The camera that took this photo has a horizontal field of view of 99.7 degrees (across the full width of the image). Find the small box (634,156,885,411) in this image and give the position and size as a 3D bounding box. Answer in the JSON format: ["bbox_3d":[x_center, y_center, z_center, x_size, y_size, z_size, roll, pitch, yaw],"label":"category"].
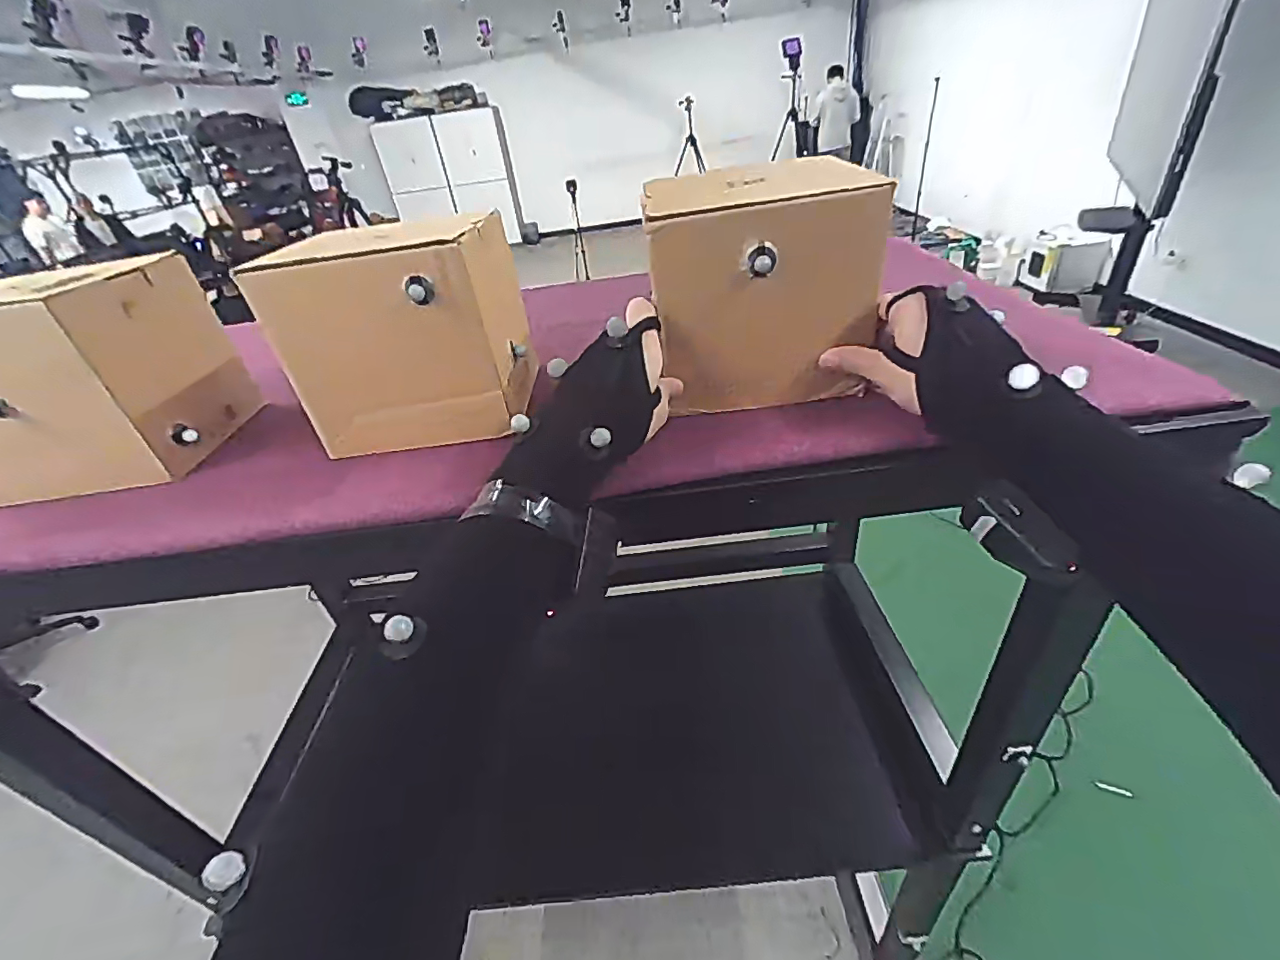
[{"bbox_3d":[0.094,-0.173,0.483,0.179,0.176,0.168,-5,37,5],"label":"small box"}]

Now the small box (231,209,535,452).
[{"bbox_3d":[-0.210,-0.138,0.503,0.179,0.176,0.168,-7,34,2],"label":"small box"}]

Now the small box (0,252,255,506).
[{"bbox_3d":[-0.517,-0.096,0.507,0.179,0.176,0.168,-9,34,1],"label":"small box"}]
